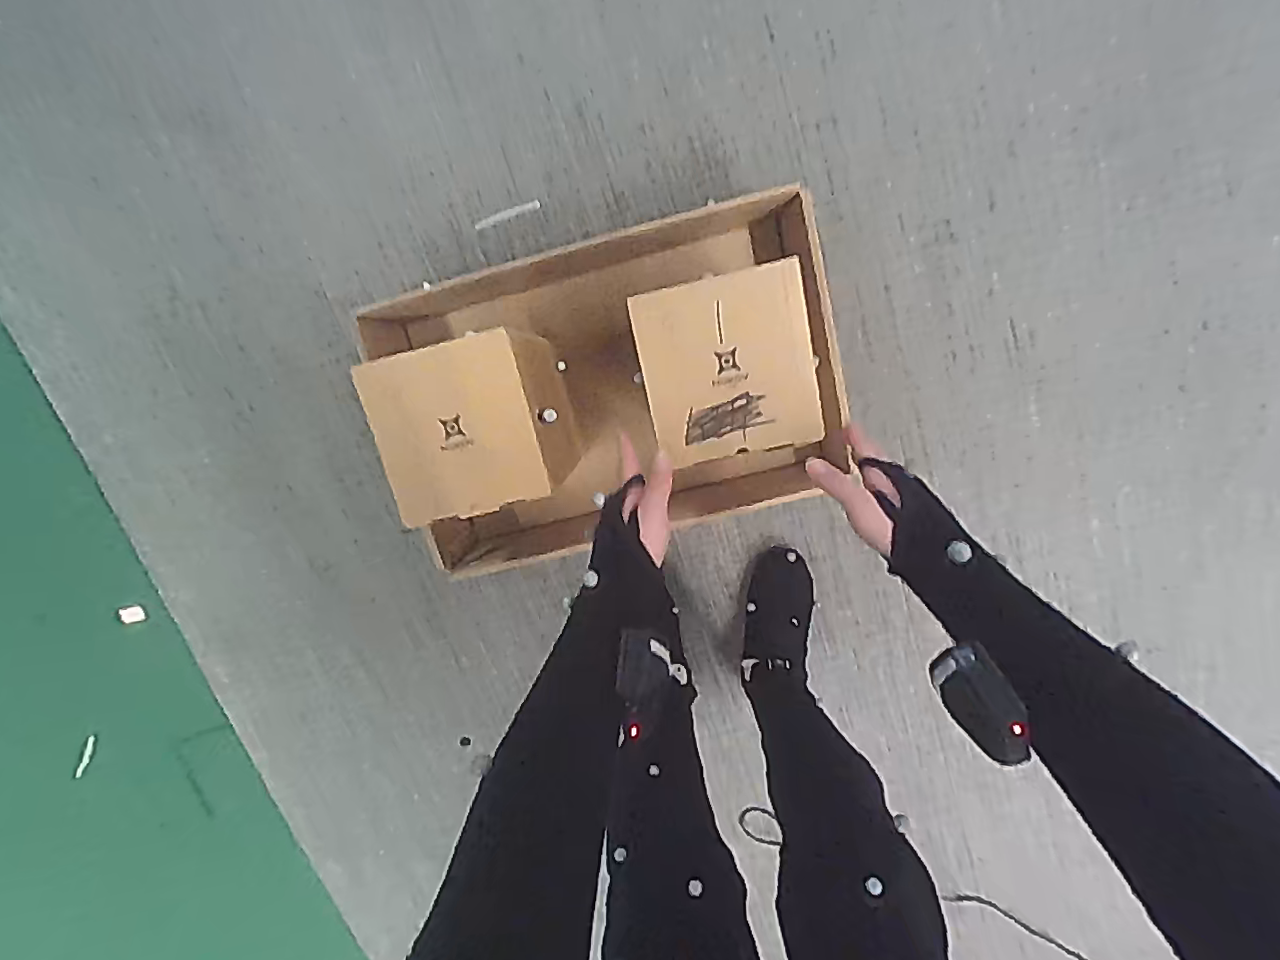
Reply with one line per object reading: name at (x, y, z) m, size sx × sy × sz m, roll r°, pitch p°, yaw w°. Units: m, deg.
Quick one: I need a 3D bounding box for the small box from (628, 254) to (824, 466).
small box at (0.090, -0.128, 0.596) m, size 0.168 × 0.176 × 0.179 m, roll -11°, pitch 101°, yaw 6°

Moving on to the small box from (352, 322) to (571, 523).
small box at (-0.186, -0.069, 0.622) m, size 0.168 × 0.176 × 0.179 m, roll -13°, pitch 102°, yaw 4°
